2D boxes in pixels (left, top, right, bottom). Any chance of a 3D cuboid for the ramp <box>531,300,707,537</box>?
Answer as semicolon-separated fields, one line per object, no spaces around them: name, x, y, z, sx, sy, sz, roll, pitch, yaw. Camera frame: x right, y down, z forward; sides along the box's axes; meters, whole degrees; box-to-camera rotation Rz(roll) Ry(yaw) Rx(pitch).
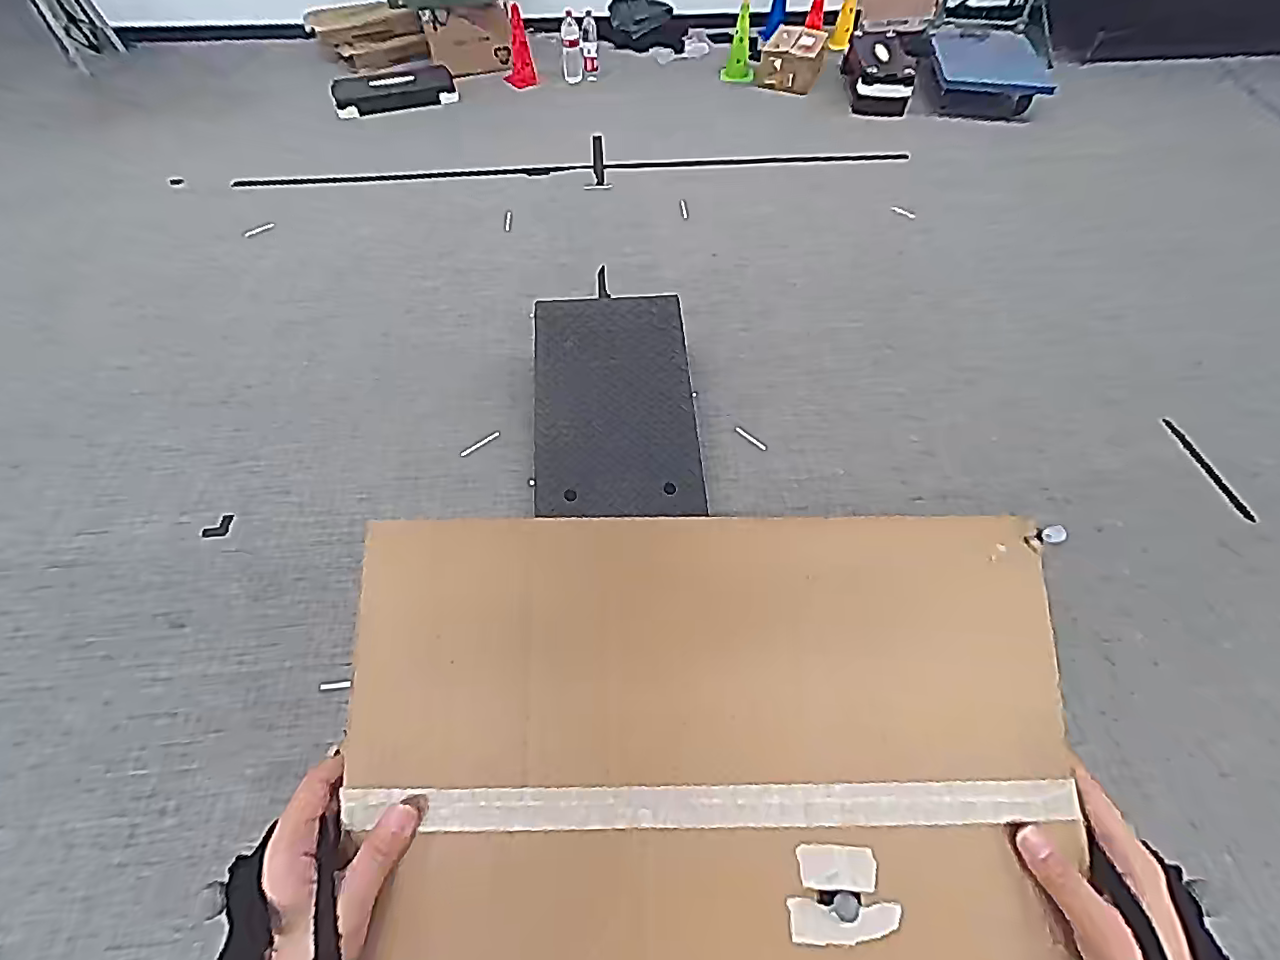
ramp;-0.080;-0.143;1.635;0.509;0.206;0.991;-5;56;-5

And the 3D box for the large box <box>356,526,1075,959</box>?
large box;0.037;0.212;0.458;0.408;0.320;0.320;-1;80;-2
